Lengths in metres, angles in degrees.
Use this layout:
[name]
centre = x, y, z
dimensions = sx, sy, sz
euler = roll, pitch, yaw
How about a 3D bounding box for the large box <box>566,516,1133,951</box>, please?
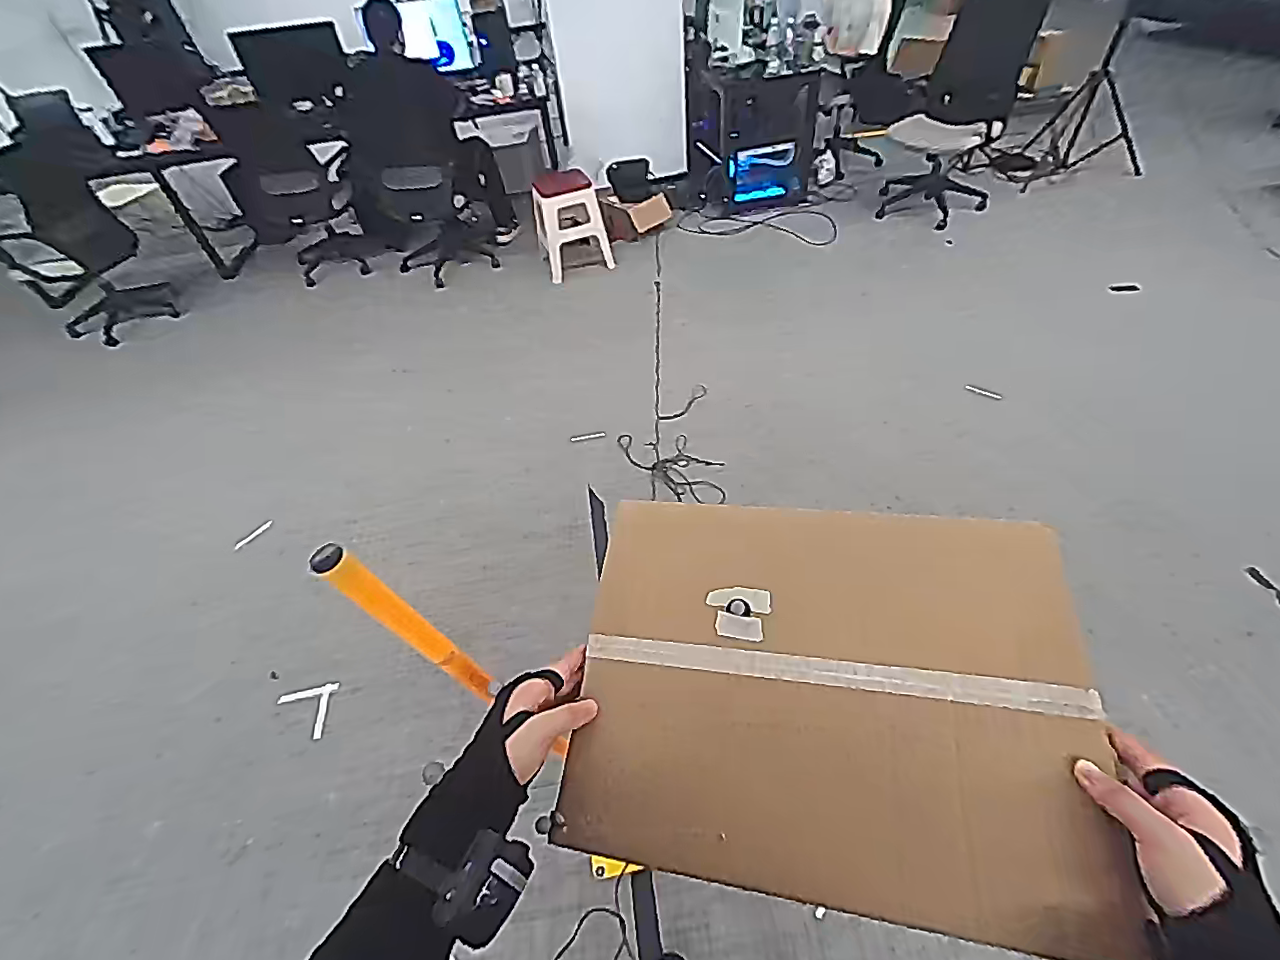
[large box]
centre = 0.183, 0.249, 0.594
dimensions = 0.408, 0.320, 0.320
euler = 2, 58, 15
